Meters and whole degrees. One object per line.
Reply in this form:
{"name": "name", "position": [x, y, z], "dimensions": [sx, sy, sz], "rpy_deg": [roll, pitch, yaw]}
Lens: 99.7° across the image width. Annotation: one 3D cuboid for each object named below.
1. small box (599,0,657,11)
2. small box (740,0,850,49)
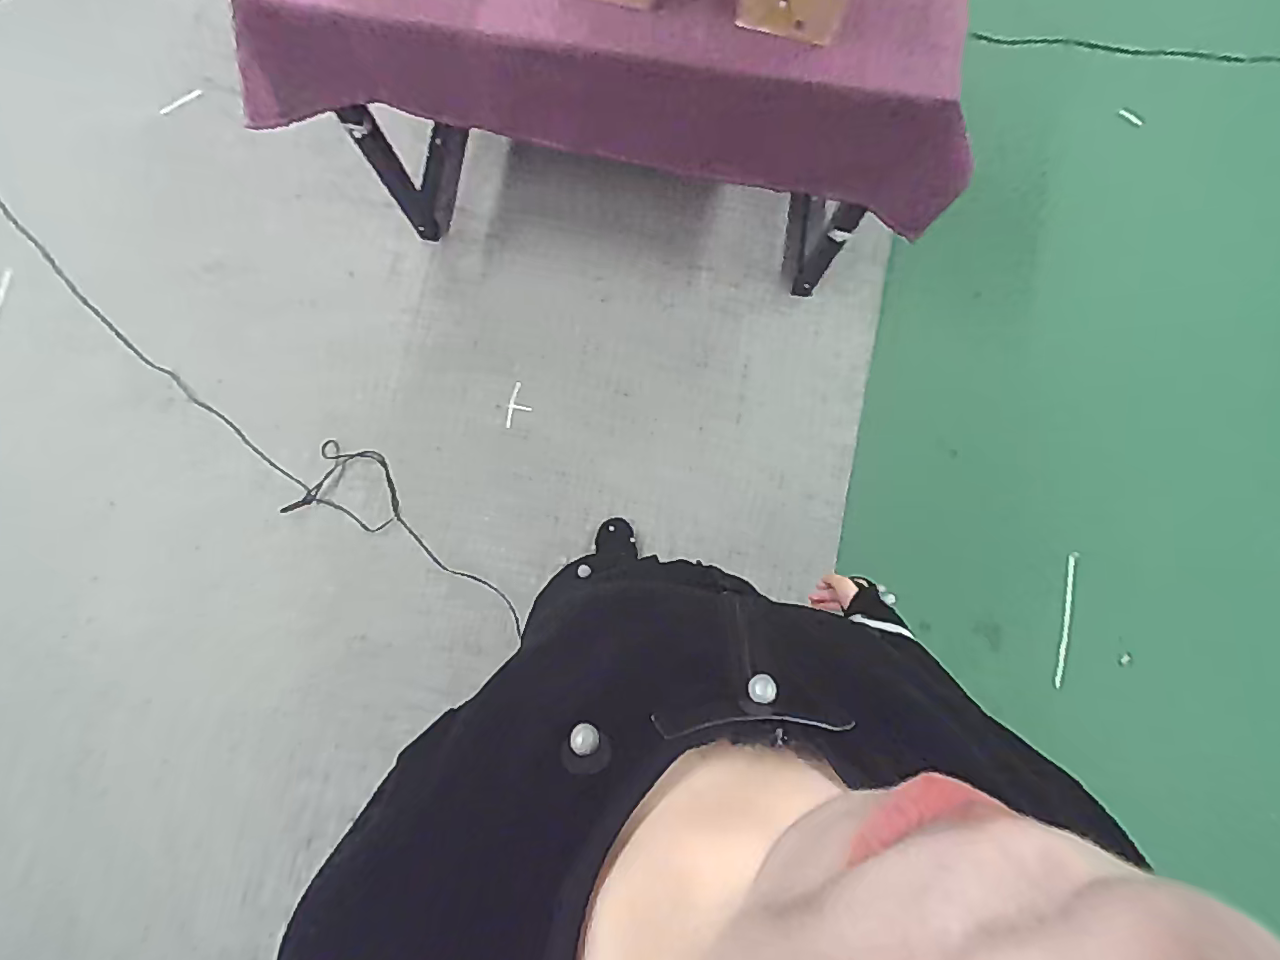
{"name": "small box", "position": [-0.045, -0.883, 0.835], "dimensions": [0.179, 0.176, 0.168], "rpy_deg": [13, 82, 2]}
{"name": "small box", "position": [0.261, -0.828, 0.832], "dimensions": [0.168, 0.176, 0.179], "rpy_deg": [14, 83, 2]}
